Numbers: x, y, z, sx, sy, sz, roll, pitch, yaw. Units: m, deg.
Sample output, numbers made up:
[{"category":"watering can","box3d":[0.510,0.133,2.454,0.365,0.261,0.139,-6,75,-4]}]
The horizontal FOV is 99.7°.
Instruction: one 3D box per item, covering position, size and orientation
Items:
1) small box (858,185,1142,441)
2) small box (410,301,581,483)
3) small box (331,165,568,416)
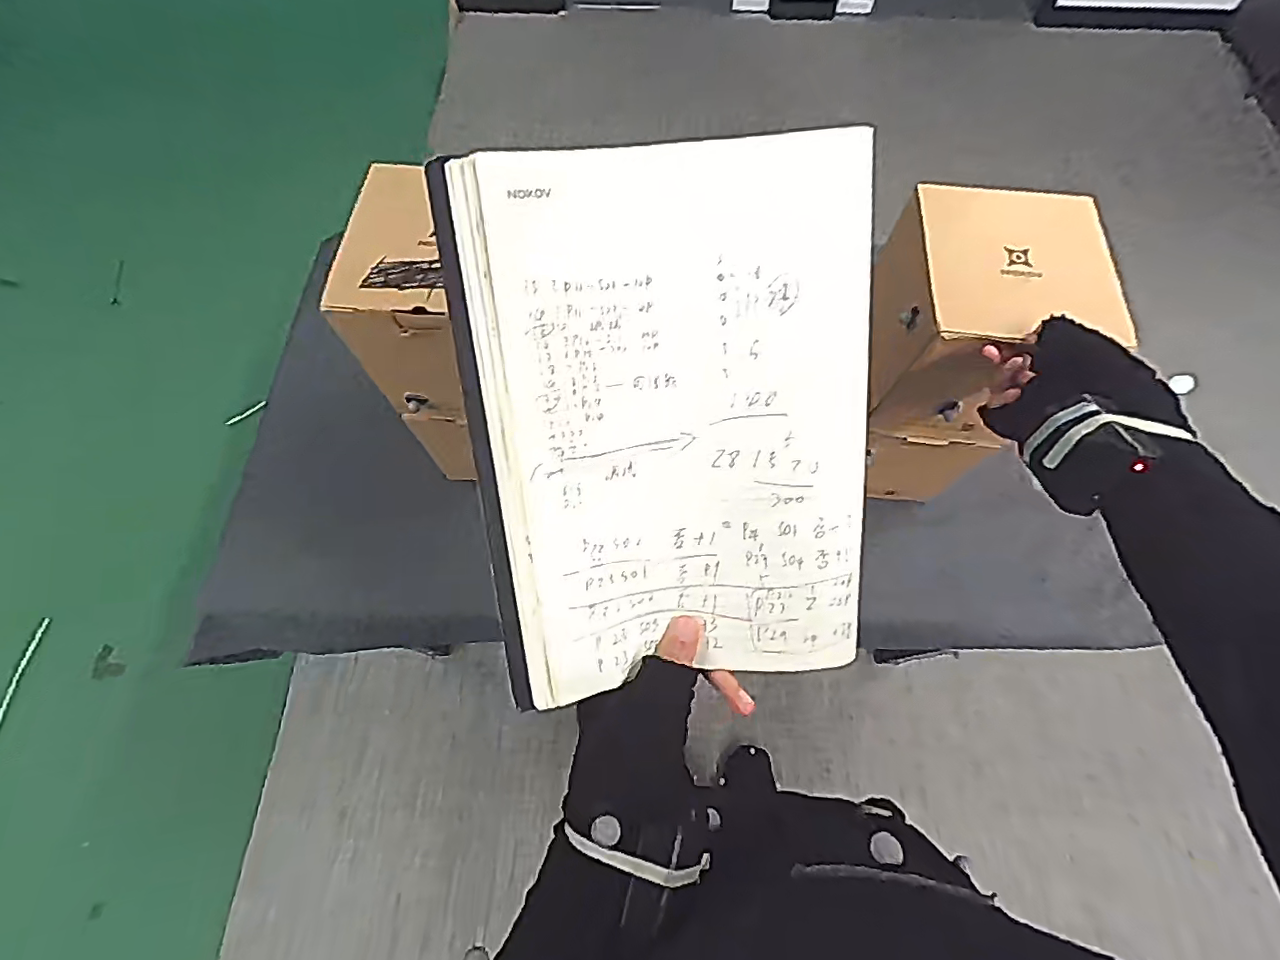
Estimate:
[{"category":"small box","box3d":[0.336,-0.161,0.550,0.168,0.176,0.179,5,67,1]},{"category":"small box","box3d":[-0.169,-0.112,0.698,0.168,0.176,0.179,2,66,1]},{"category":"small box","box3d":[-0.169,-0.181,0.549,0.168,0.176,0.179,4,65,0]}]
